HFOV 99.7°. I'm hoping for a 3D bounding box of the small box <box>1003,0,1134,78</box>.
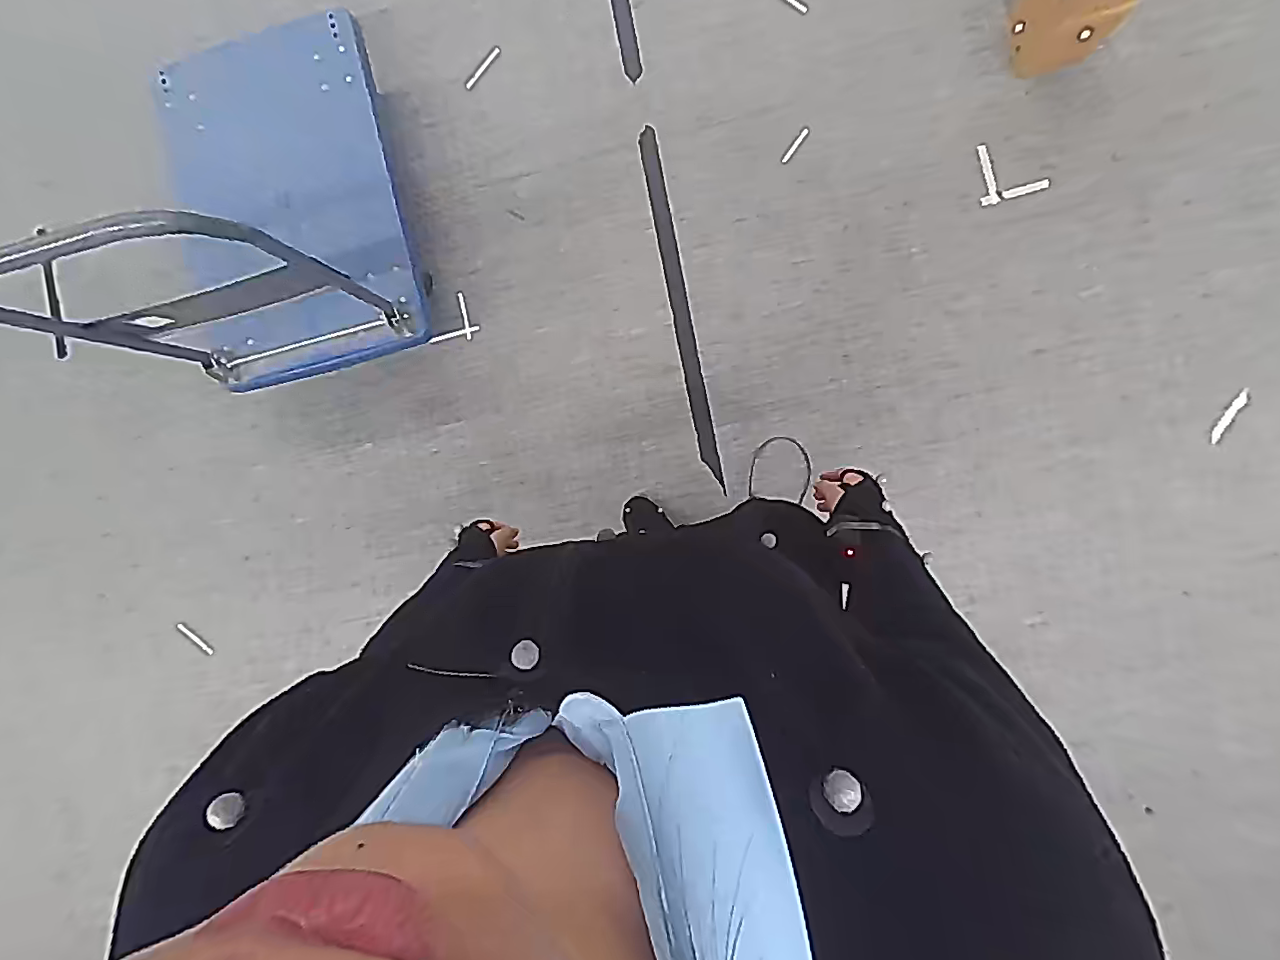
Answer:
[{"bbox_3d":[1.051,-1.153,1.339,0.179,0.176,0.168,-14,89,5],"label":"small box"}]
